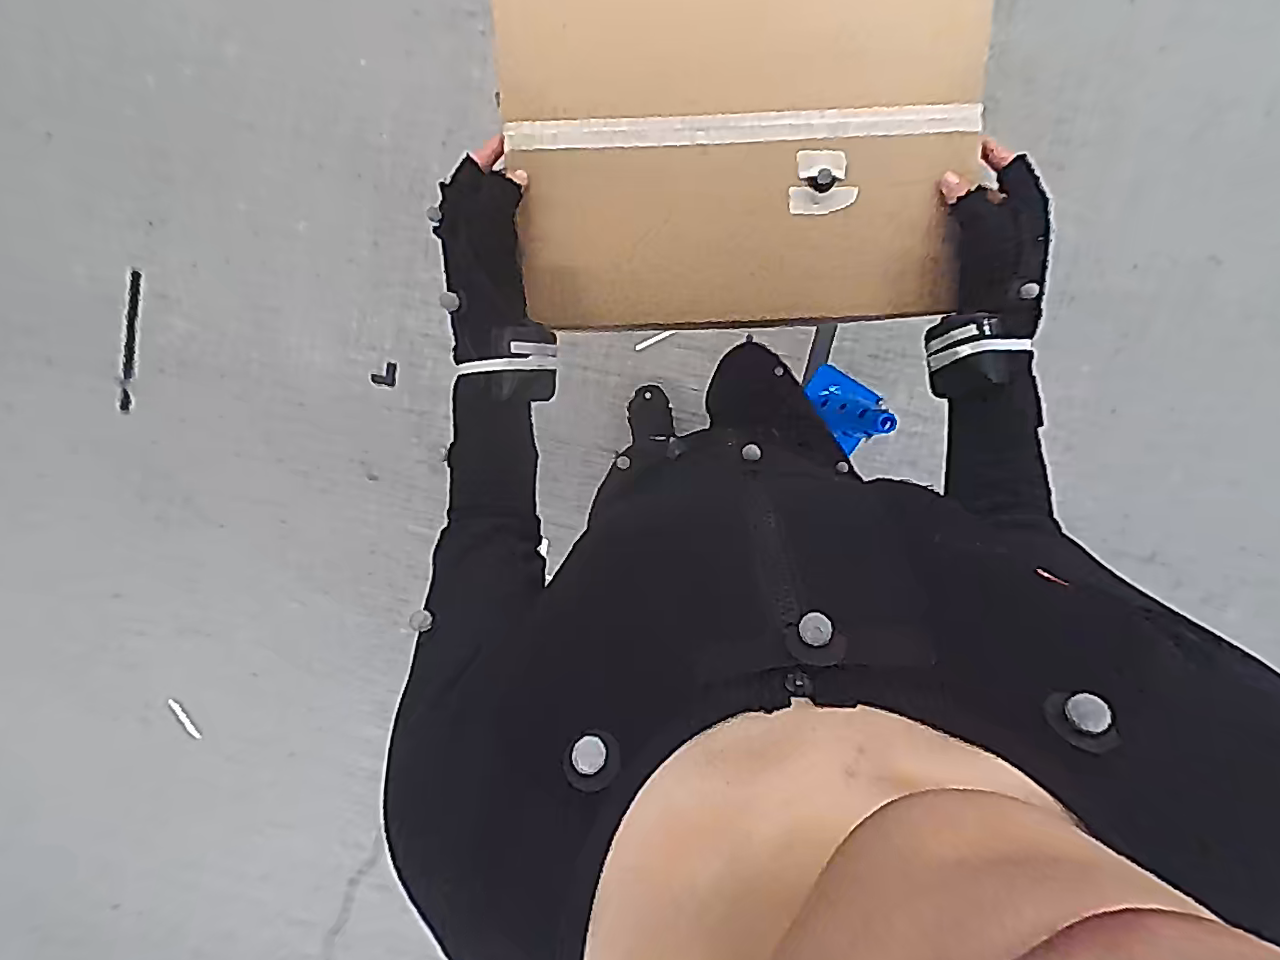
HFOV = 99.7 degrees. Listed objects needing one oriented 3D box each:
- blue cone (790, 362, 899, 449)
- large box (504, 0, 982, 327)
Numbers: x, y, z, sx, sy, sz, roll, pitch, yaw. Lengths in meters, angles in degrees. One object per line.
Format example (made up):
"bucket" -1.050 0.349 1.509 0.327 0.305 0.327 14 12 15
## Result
"blue cone" 0.504 -0.167 1.263 0.193 0.380 0.192 33 99 -2
"large box" 0.085 -0.346 0.614 0.408 0.320 0.320 -1 104 -1
